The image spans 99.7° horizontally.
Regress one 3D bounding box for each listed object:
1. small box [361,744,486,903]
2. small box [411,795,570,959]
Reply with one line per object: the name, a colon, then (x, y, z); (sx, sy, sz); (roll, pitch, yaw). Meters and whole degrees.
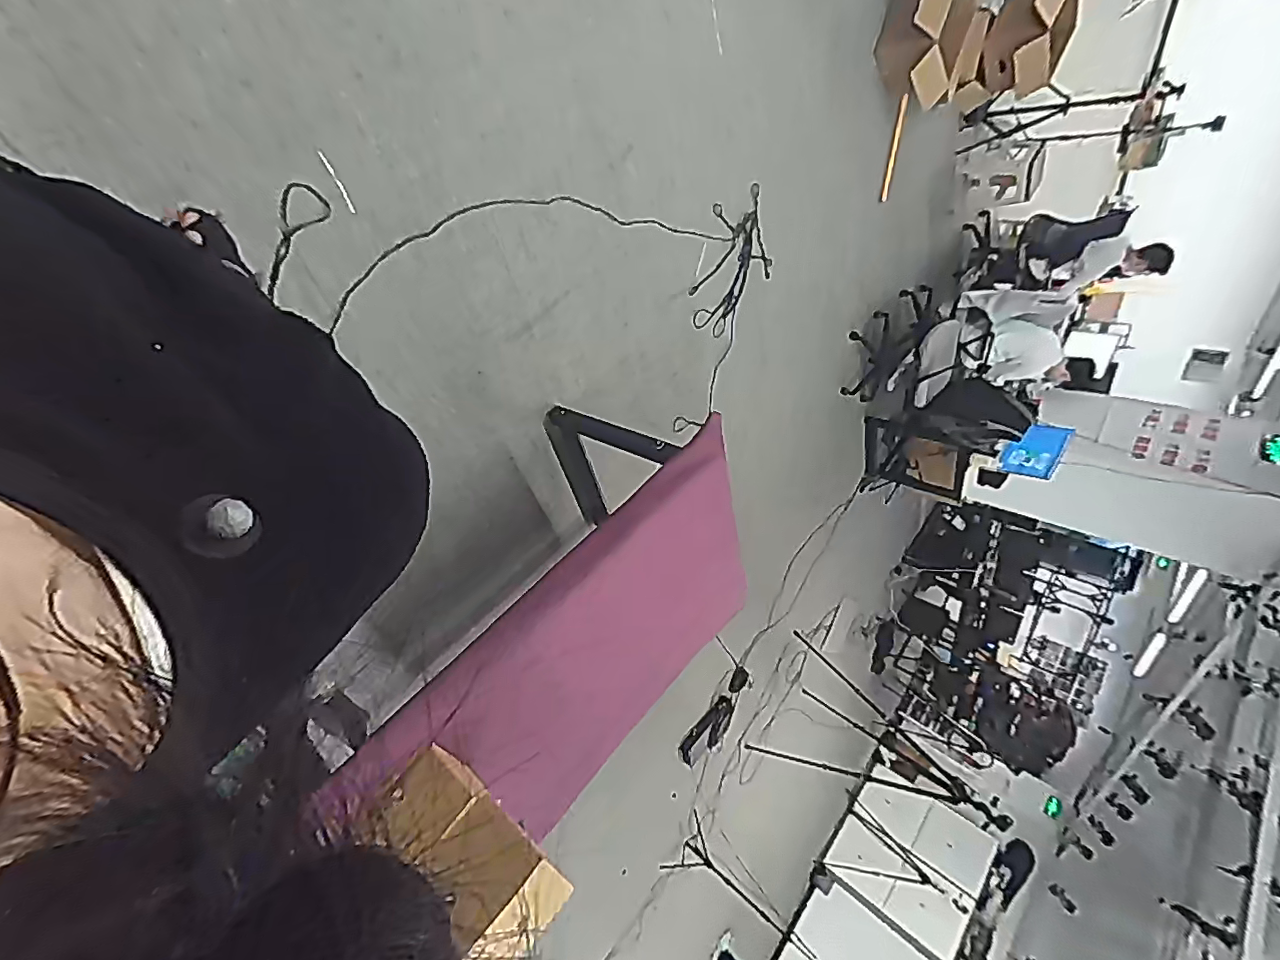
small box: (-0.380, 0.634, 0.997); (0.179, 0.176, 0.168); (-46, 136, -25)
small box: (-0.253, 0.681, 0.904); (0.179, 0.176, 0.168); (-42, 134, -30)
